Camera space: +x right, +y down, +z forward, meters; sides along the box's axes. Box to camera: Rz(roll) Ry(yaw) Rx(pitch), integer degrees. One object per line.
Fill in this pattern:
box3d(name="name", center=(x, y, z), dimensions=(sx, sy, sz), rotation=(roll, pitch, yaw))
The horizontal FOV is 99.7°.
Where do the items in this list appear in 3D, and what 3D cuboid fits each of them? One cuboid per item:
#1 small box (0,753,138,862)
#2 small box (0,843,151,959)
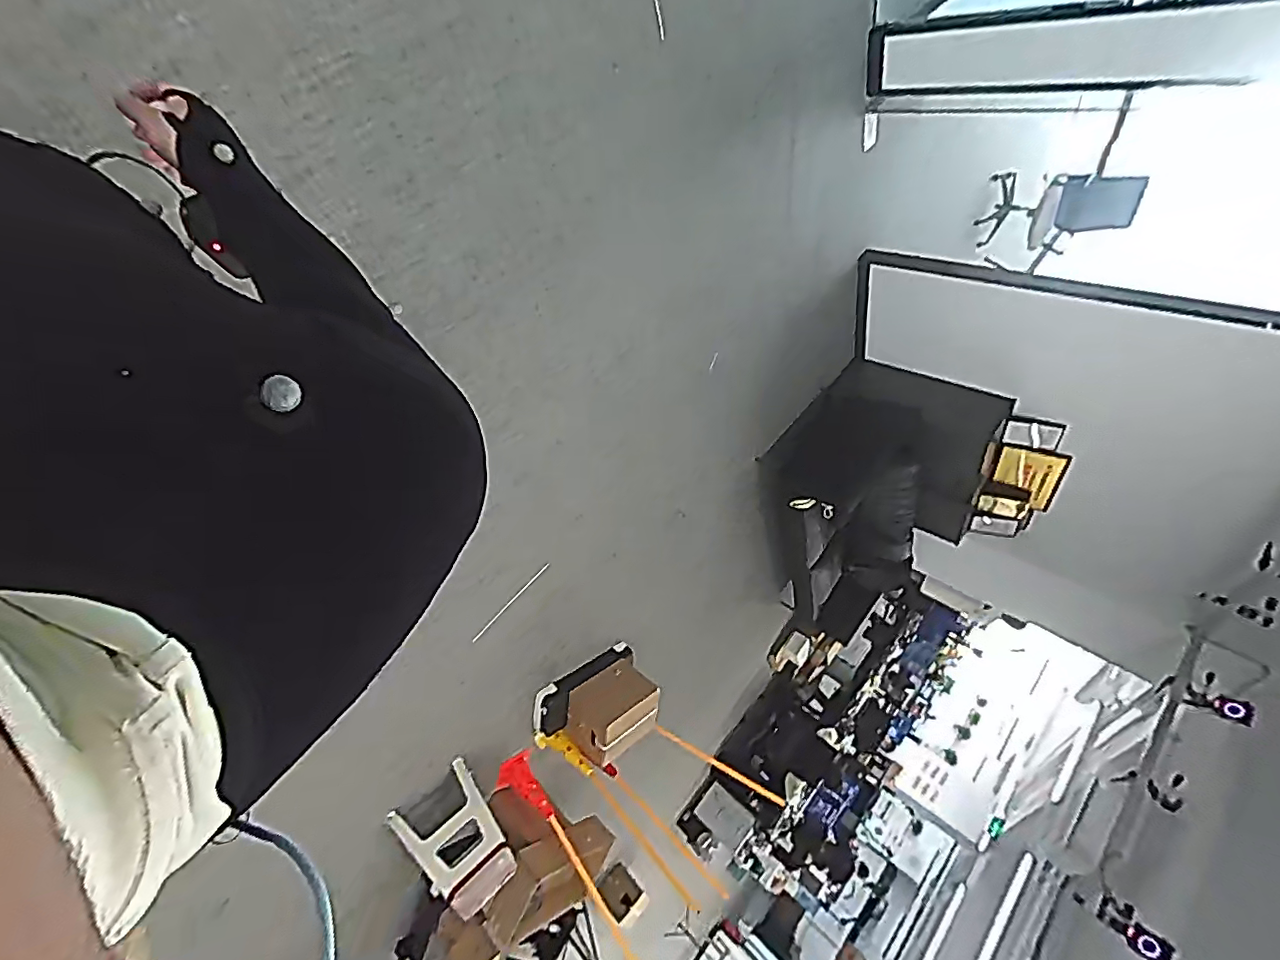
box3d(name="small box", center=(-0.844, 0.504, 0.724), dimensions=(0.179, 0.176, 0.168), rotation=(-46, 142, -18))
box3d(name="small box", center=(-0.729, 0.571, 0.627), dimensions=(0.179, 0.176, 0.168), rotation=(-47, 142, -19))
